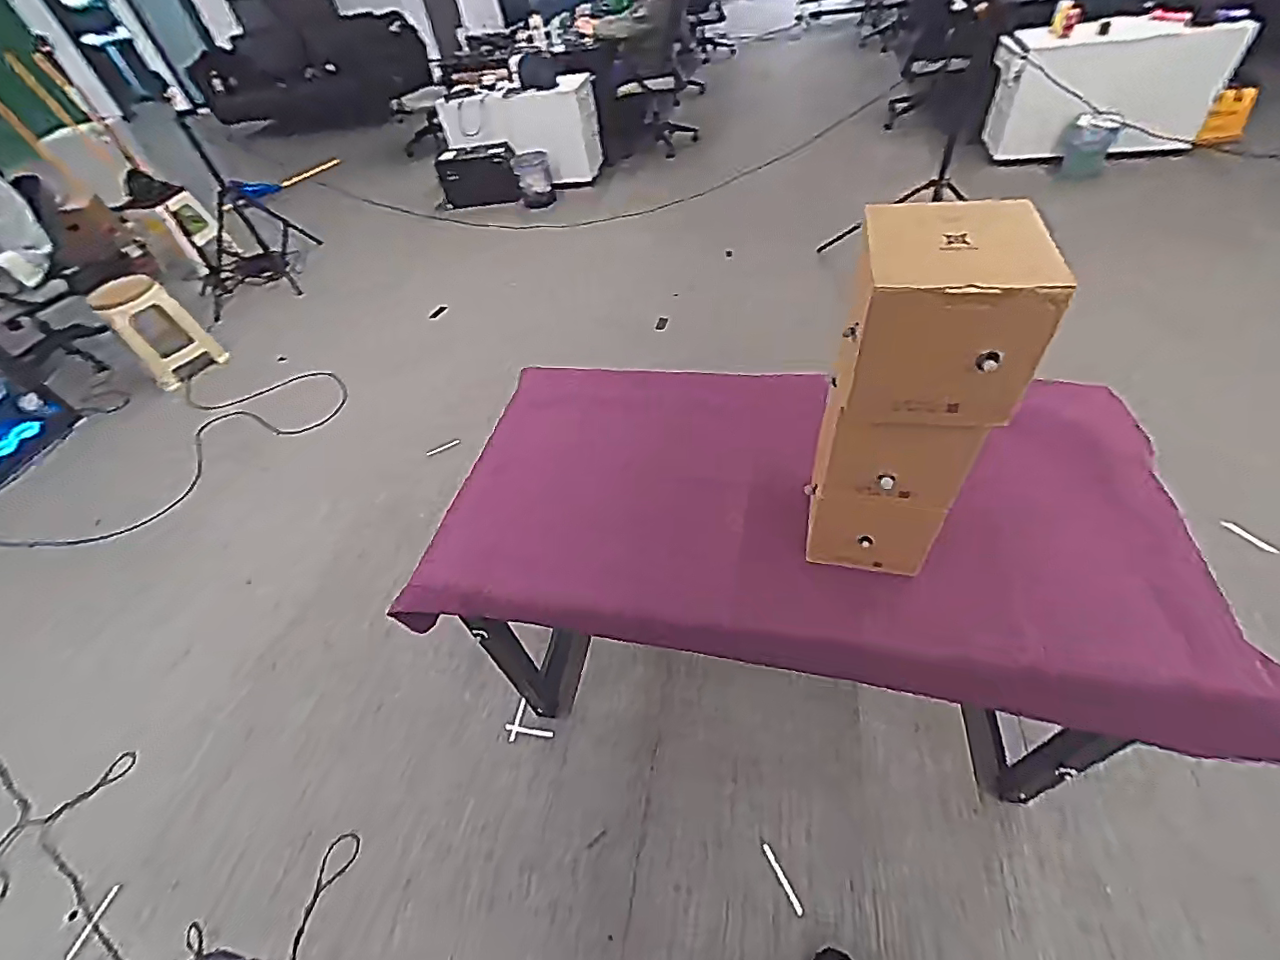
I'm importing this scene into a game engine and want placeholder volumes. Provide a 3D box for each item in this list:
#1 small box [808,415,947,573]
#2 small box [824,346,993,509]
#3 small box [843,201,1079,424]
[{"bbox_3d":[0.359,0.023,0.842,0.168,0.176,0.179,7,50,15],"label":"small box"},{"bbox_3d":[0.344,-0.087,0.722,0.168,0.176,0.179,7,51,15],"label":"small box"},{"bbox_3d":[0.321,-0.178,0.587,0.168,0.176,0.179,5,49,12],"label":"small box"}]
